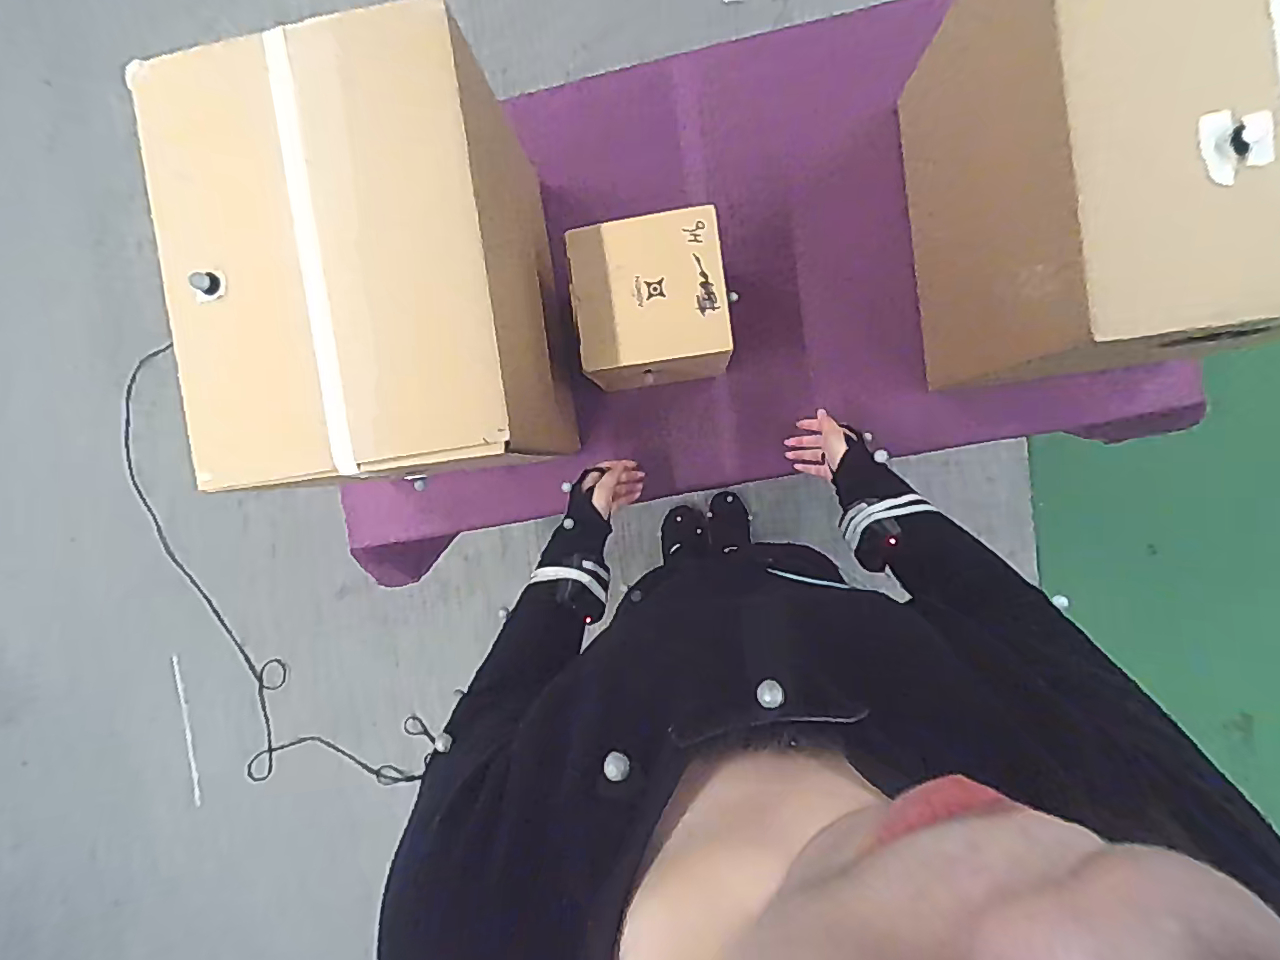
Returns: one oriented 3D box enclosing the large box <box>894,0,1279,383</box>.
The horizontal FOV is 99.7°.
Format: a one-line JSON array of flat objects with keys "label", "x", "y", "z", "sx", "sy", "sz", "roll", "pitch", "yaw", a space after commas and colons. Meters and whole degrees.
[{"label": "large box", "x": 0.508, "y": -0.341, "z": 0.581, "sx": 0.320, "sy": 0.320, "sz": 0.408, "roll": -7, "pitch": 92, "yaw": 5}]
